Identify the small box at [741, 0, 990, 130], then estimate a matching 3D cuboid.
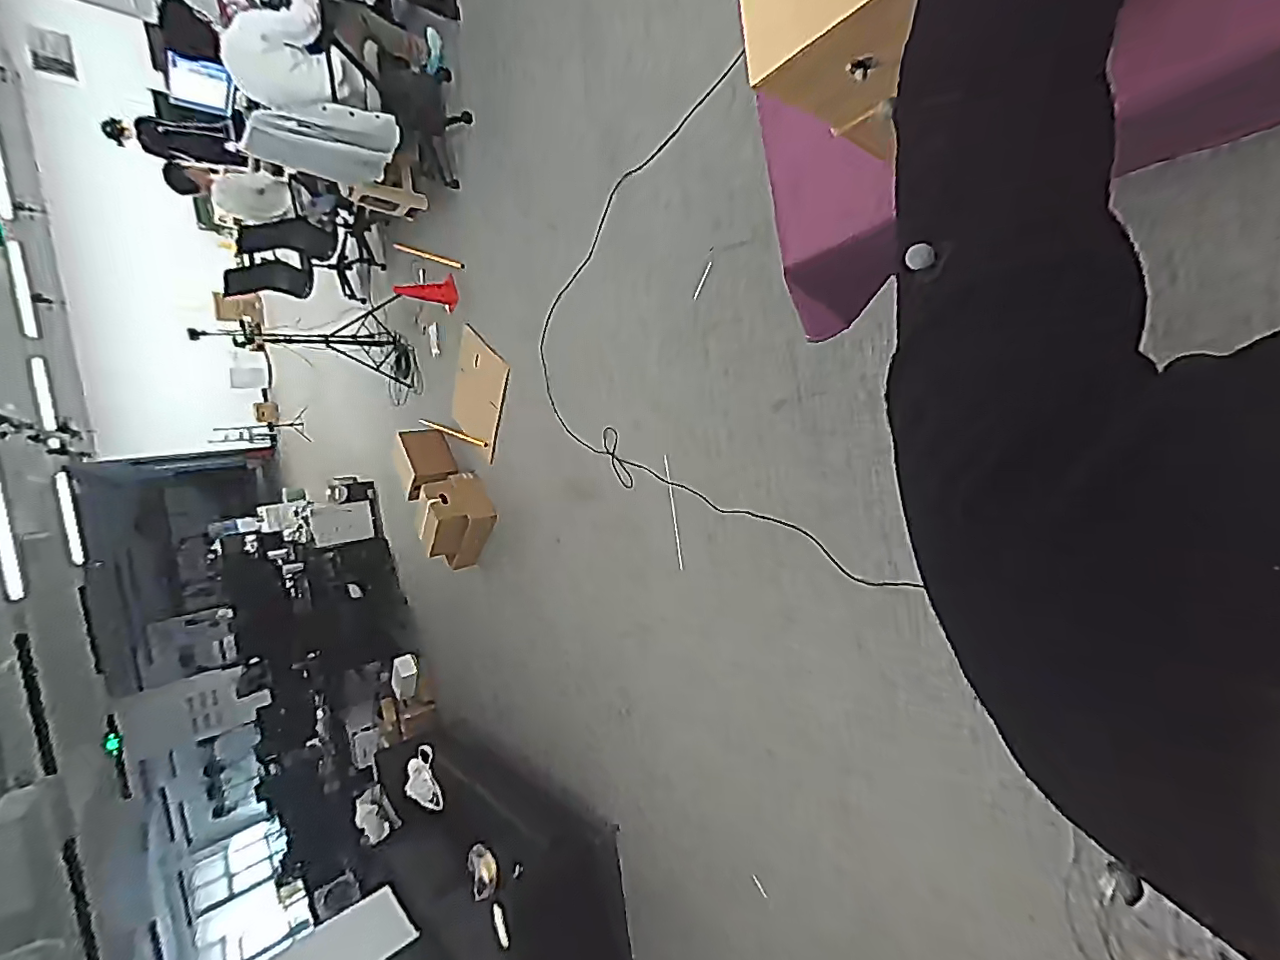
[{"bbox_3d":[0.219,-0.485,0.528,0.179,0.176,0.168,-4,96,50],"label":"small box"}]
